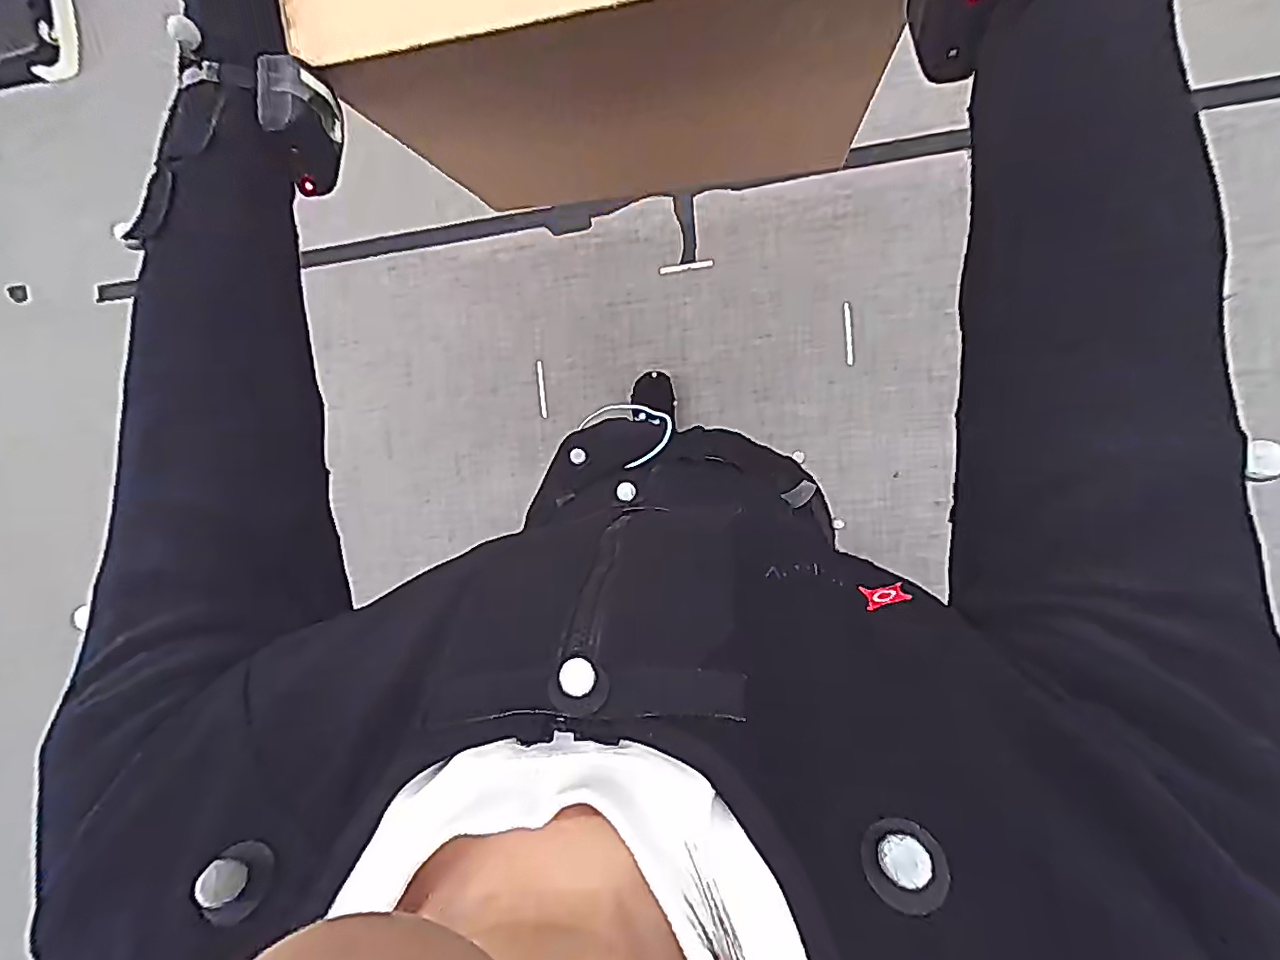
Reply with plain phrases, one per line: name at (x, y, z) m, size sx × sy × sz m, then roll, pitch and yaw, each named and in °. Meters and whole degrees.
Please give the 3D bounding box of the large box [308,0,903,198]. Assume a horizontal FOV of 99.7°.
large box at (-0.014, -0.474, 0.453) m, size 0.408 × 0.320 × 0.320 m, roll -3°, pitch 100°, yaw 10°
